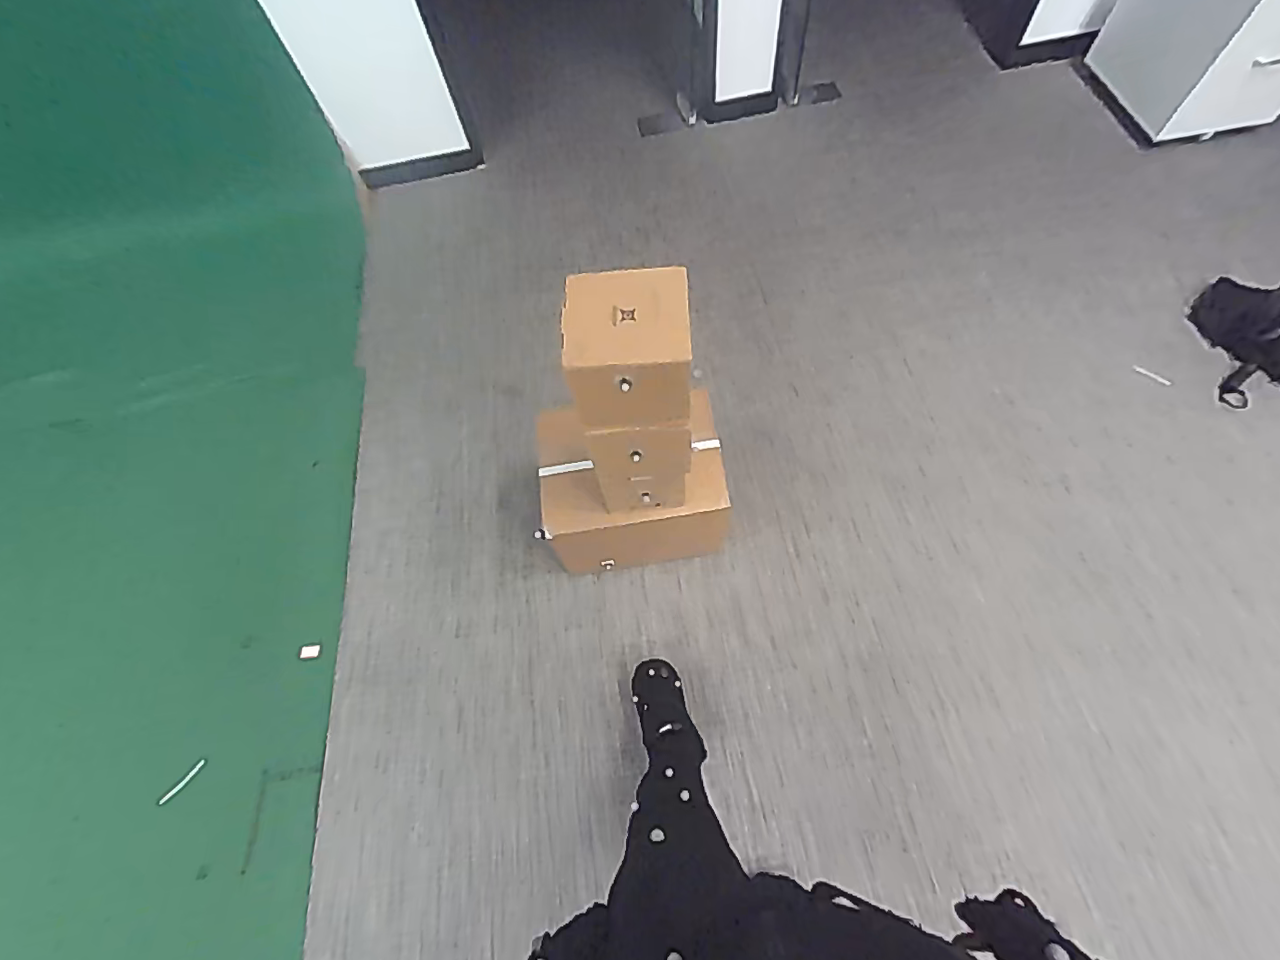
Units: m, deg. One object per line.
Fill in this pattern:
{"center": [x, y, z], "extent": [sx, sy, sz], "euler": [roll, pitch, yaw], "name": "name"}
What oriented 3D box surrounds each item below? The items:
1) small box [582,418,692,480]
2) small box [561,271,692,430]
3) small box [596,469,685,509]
{"center": [-0.002, -0.110, 0.954], "extent": [0.179, 0.176, 0.168], "euler": [-5, 65, 4], "name": "small box"}
{"center": [-0.013, -0.185, 0.811], "extent": [0.179, 0.176, 0.168], "euler": [-2, 66, 3], "name": "small box"}
{"center": [0.001, -0.048, 1.107], "extent": [0.168, 0.176, 0.179], "euler": [-7, 65, 2], "name": "small box"}
